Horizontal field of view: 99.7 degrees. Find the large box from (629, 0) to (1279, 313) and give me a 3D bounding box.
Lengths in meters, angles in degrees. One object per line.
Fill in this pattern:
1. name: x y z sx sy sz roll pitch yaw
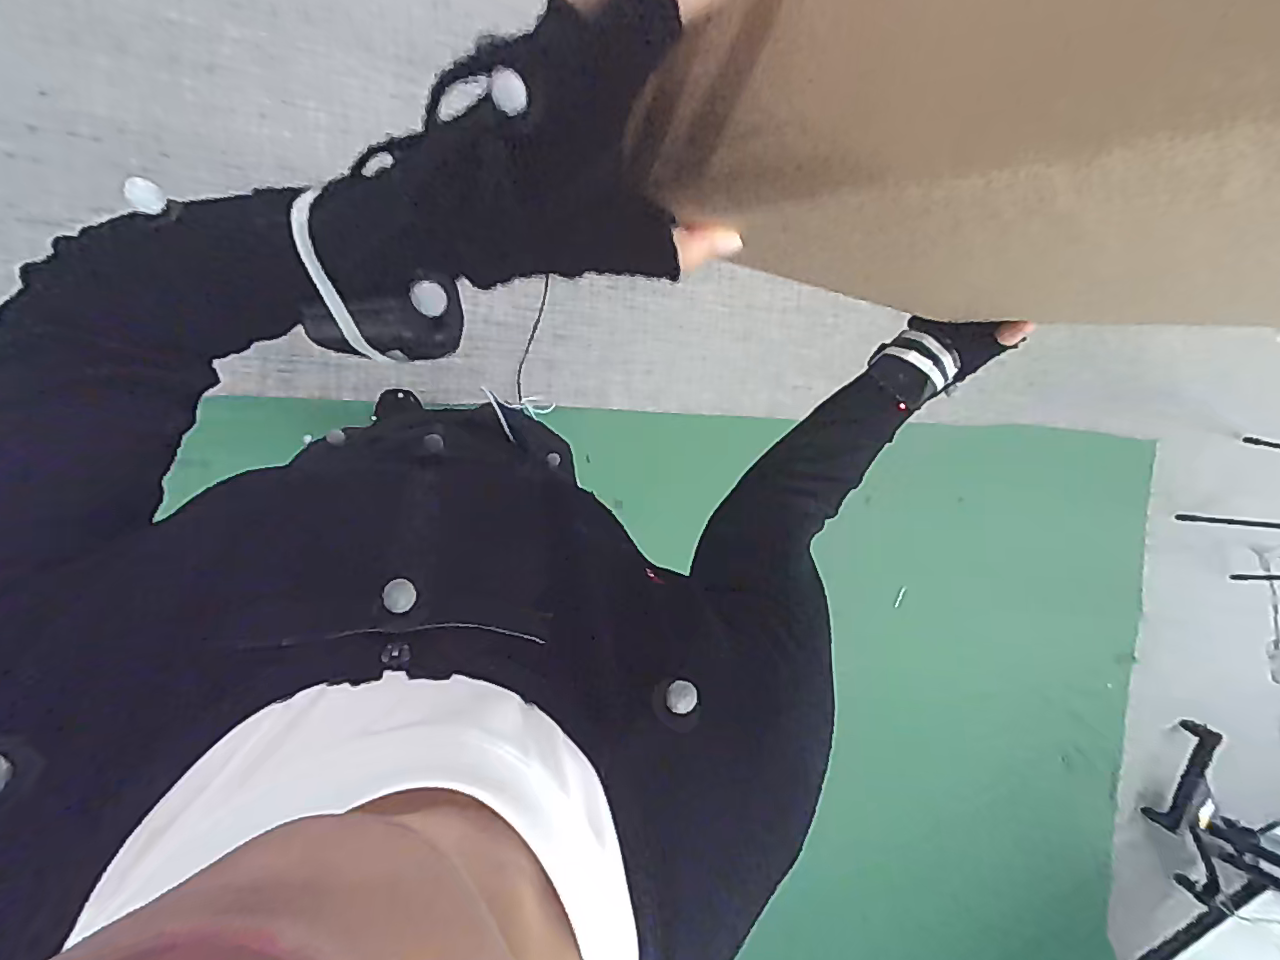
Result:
1. large box: 0.245 -0.256 0.240 0.408 0.320 0.320 -6 107 -41
